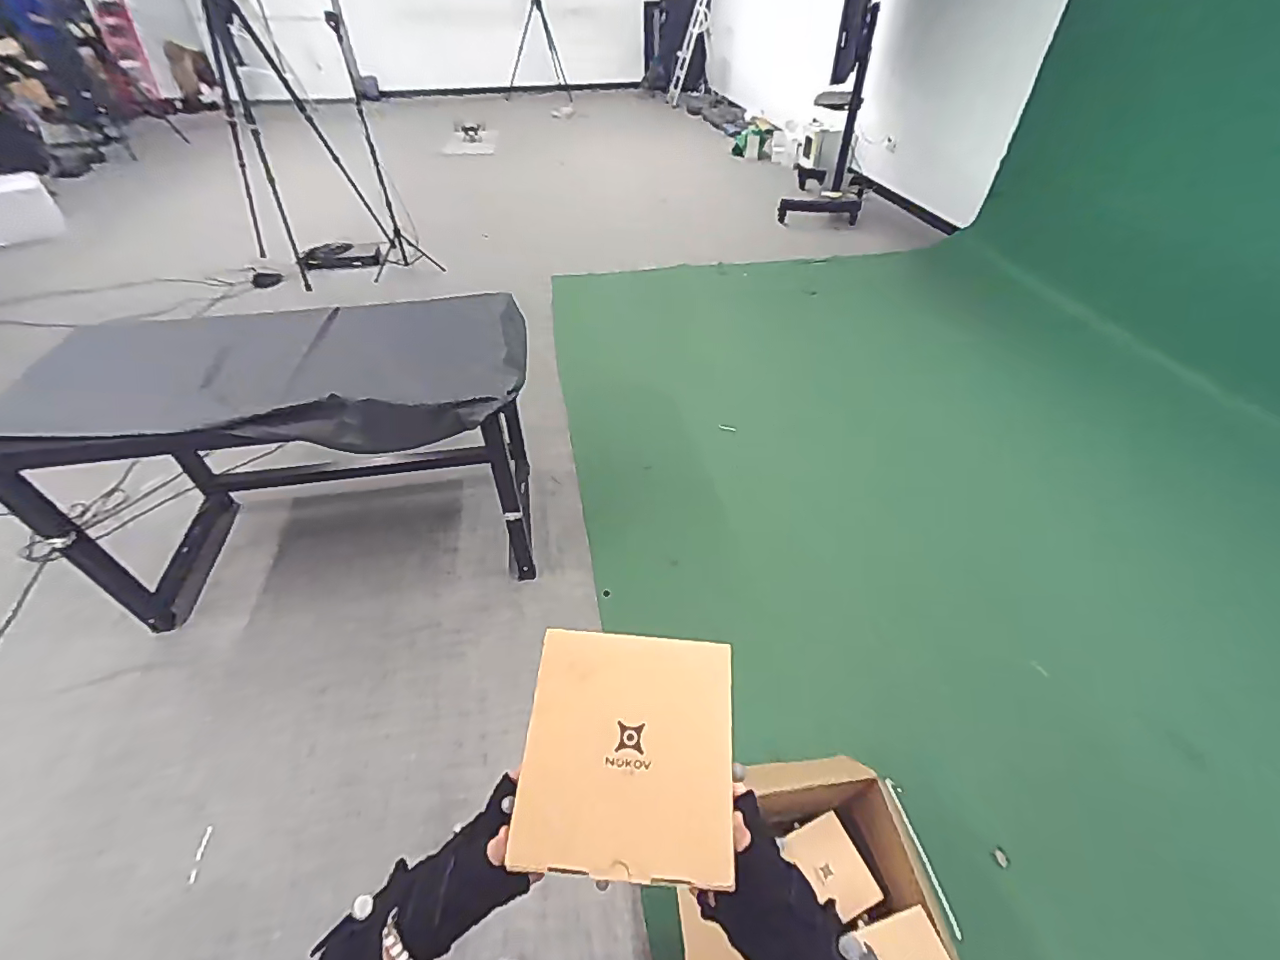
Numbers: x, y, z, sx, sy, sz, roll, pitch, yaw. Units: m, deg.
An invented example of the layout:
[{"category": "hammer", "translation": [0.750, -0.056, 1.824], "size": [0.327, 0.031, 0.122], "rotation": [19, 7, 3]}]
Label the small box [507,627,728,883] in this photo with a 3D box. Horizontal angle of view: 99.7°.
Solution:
[{"category": "small box", "translation": [-0.015, 0.256, 0.506], "size": [0.168, 0.176, 0.179], "rotation": [6, 58, 0]}]
